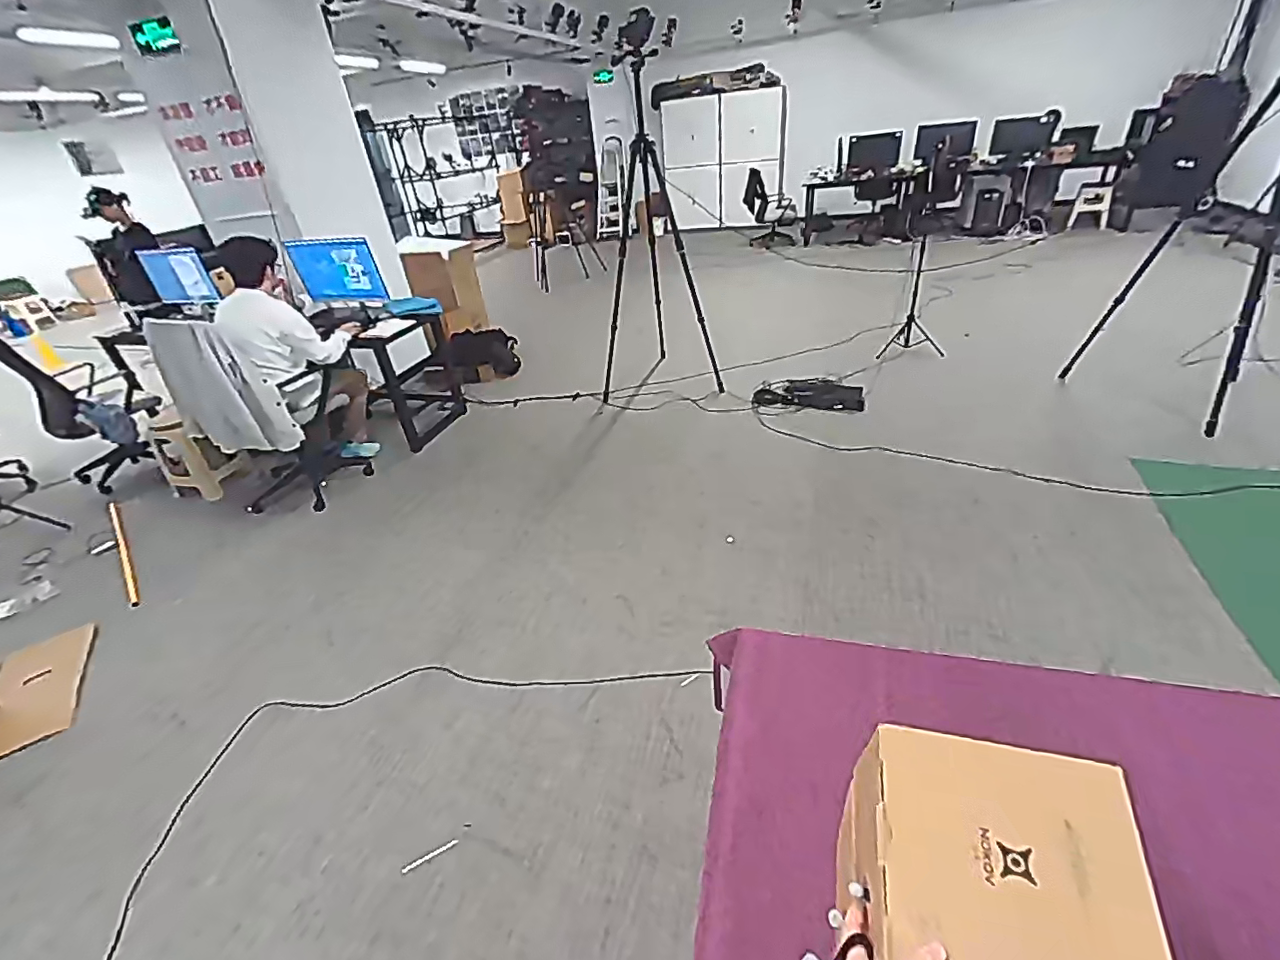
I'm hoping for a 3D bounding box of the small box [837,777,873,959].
[{"bbox_3d":[0.305,0.462,0.574,0.168,0.176,0.179,5,35,18],"label":"small box"}]

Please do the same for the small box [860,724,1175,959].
[{"bbox_3d":[0.283,0.326,0.450,0.179,0.176,0.168,4,54,17],"label":"small box"}]
